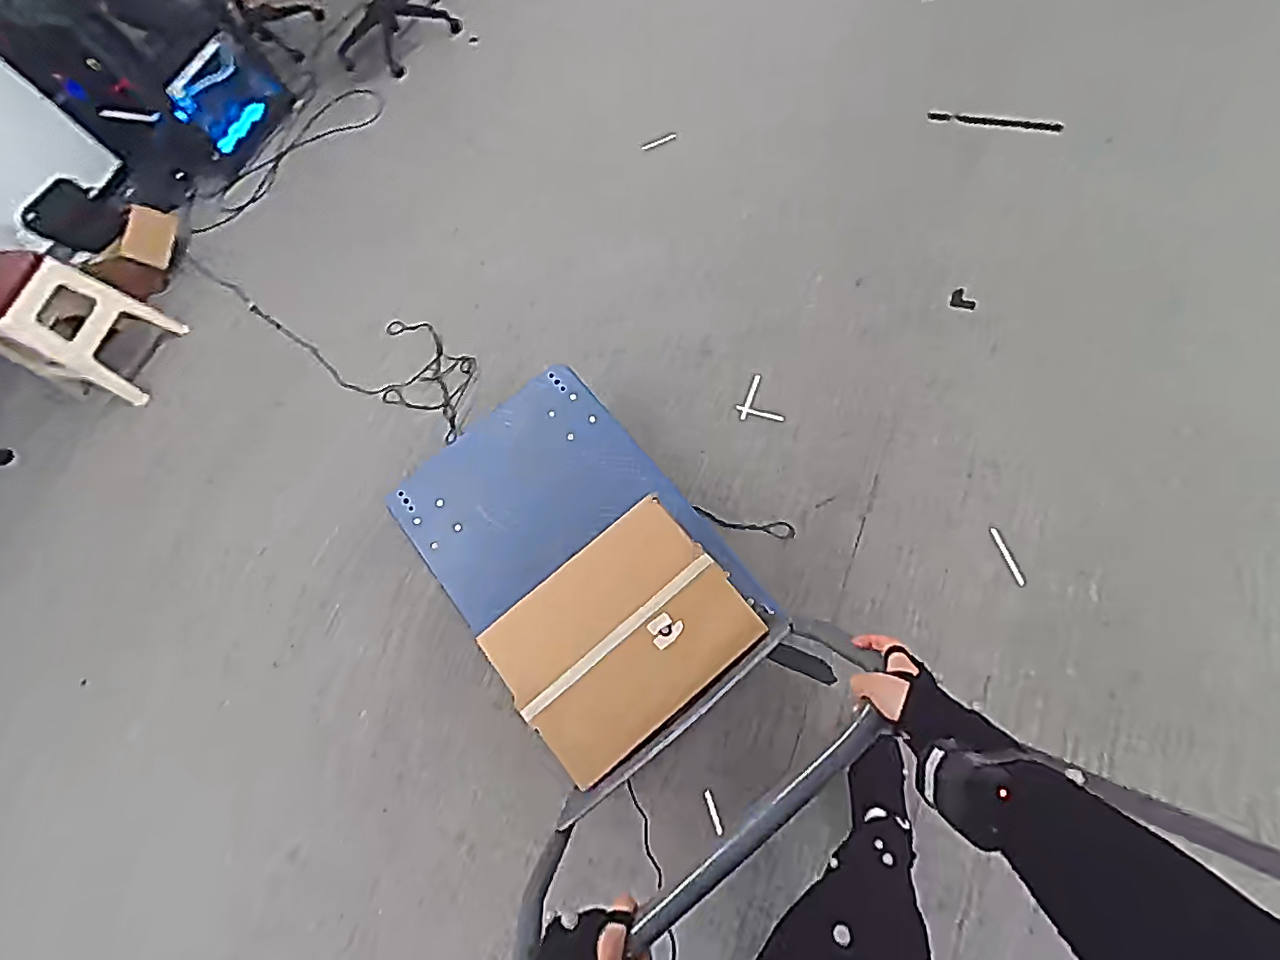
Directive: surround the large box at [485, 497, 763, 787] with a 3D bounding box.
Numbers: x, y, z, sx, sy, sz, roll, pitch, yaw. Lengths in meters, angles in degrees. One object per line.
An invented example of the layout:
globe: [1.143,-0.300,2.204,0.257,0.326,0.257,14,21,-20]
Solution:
large box: [-0.021,0.307,1.080,0.408,0.320,0.320,-40,76,-6]
